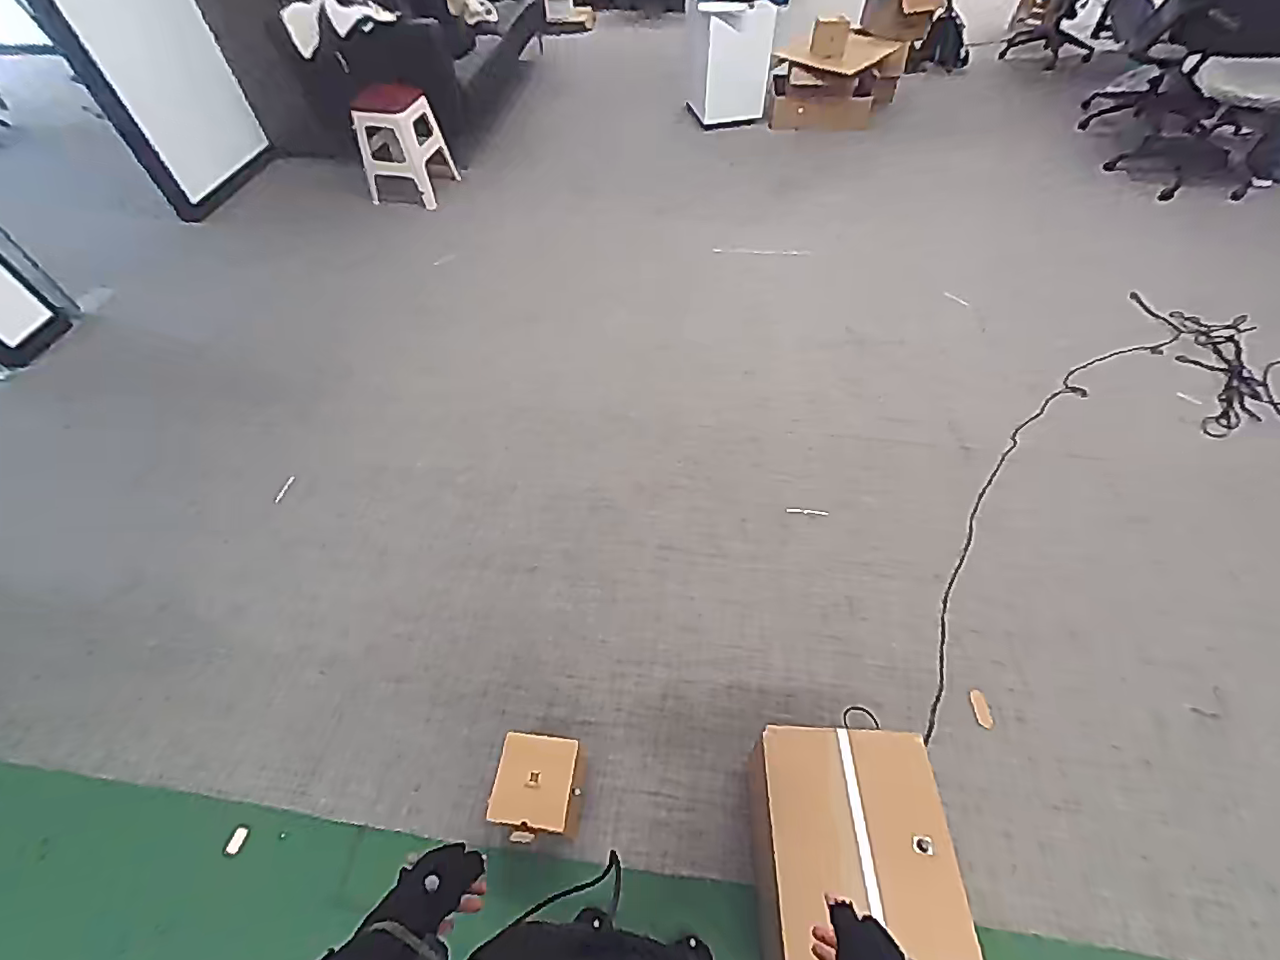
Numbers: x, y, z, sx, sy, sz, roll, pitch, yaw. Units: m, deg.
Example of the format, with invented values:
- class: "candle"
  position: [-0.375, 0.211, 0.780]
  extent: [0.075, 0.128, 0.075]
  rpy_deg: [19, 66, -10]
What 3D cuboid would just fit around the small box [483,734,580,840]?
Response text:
- class: "small box"
  position: [-0.233, 0.694, 1.219]
  extent: [0.168, 0.176, 0.179]
  rpy_deg: [4, 54, 5]
